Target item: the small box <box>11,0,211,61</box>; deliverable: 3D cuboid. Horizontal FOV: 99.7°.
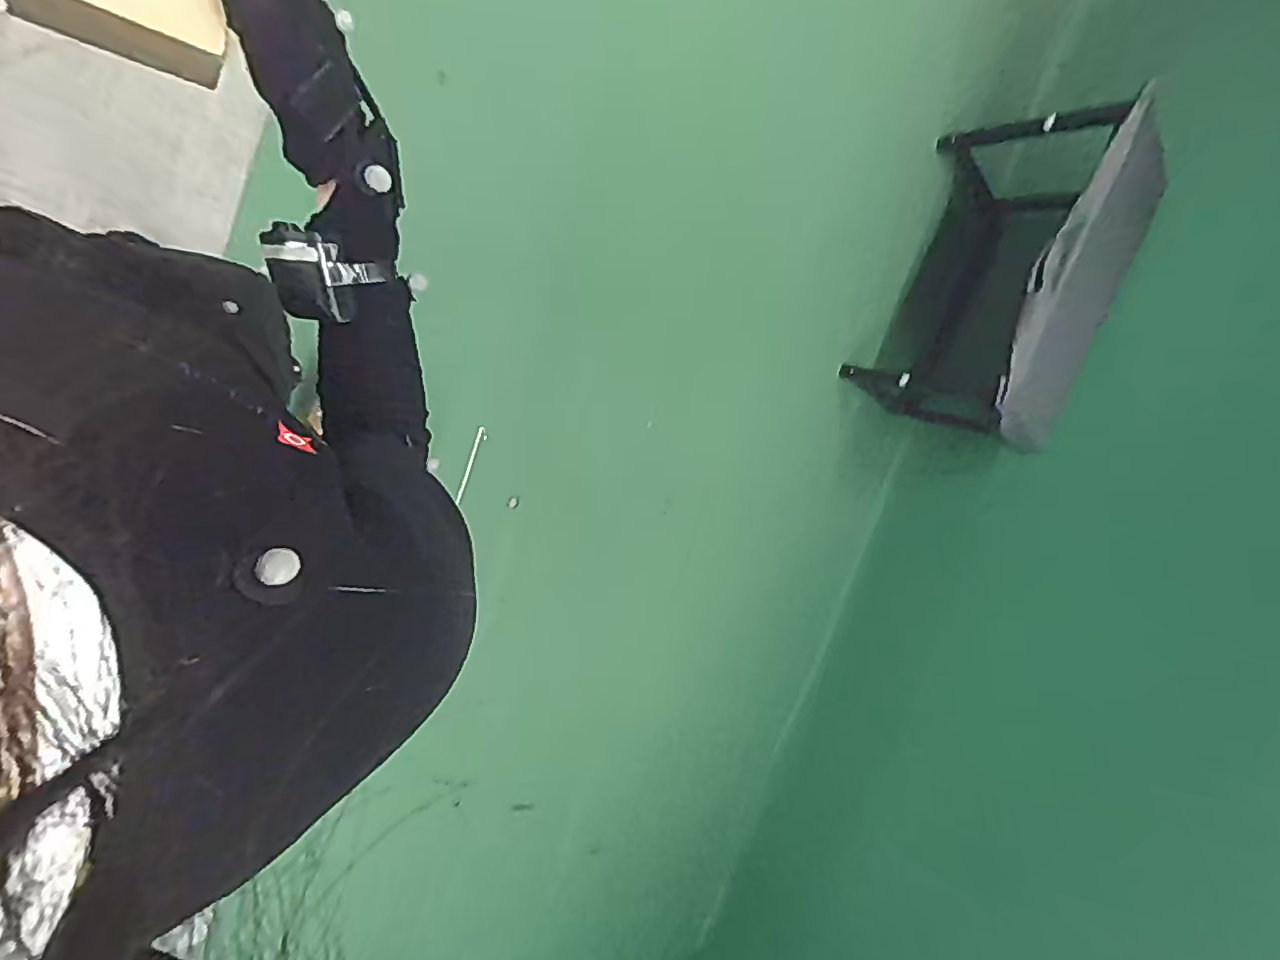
[{"bbox_3d":[-0.335,-0.355,0.282,0.179,0.176,0.168,0,115,-41],"label":"small box"}]
